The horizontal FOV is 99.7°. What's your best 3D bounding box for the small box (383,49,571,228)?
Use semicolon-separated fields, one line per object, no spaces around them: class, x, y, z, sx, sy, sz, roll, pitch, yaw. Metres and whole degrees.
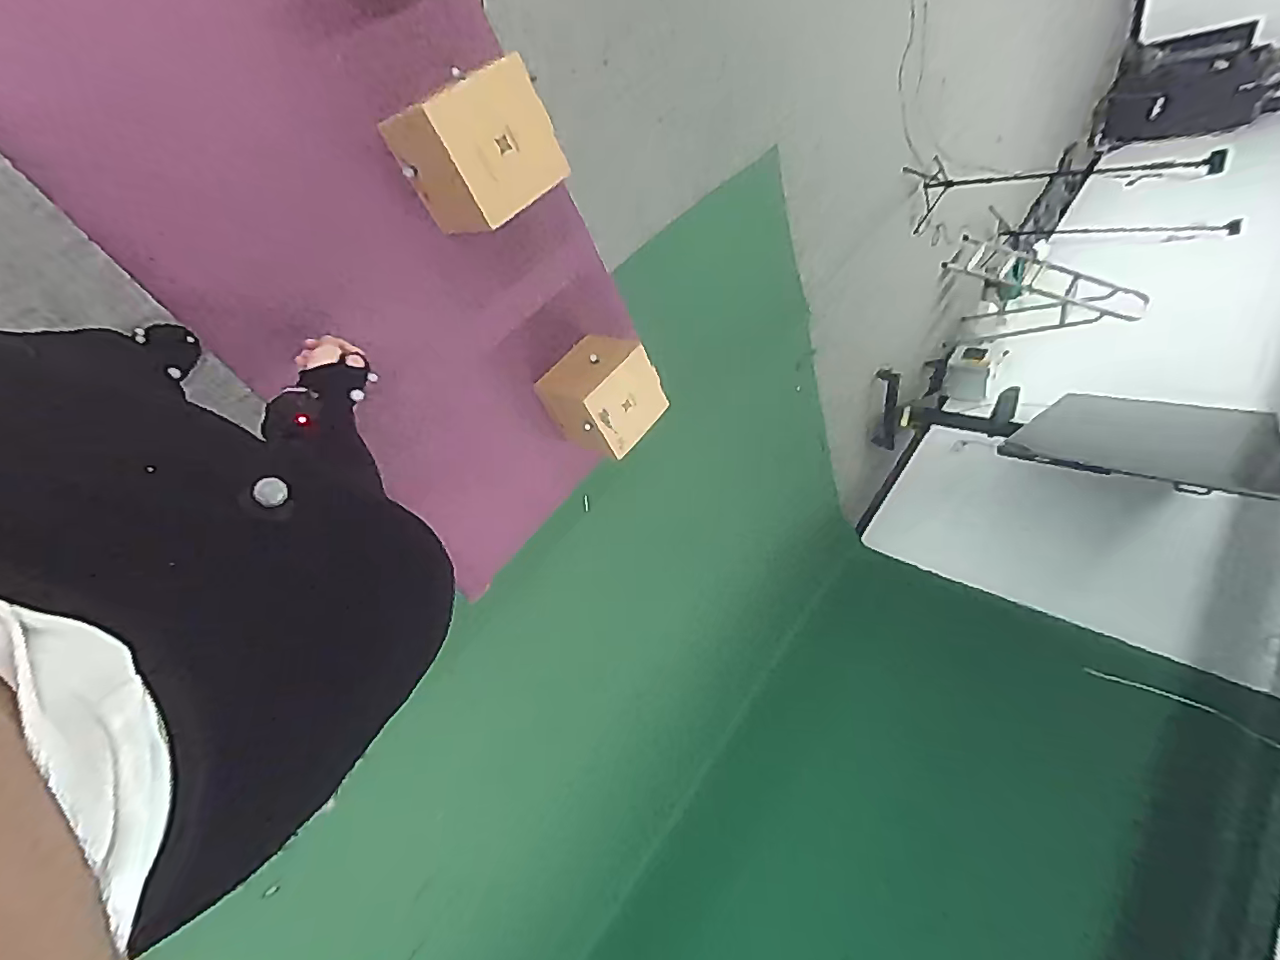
small box;-0.244;-0.502;0.812;0.179;0.176;0.168;-48;134;-21

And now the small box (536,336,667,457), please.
small box;-0.079;-0.180;1.116;0.179;0.176;0.168;-49;134;-21
